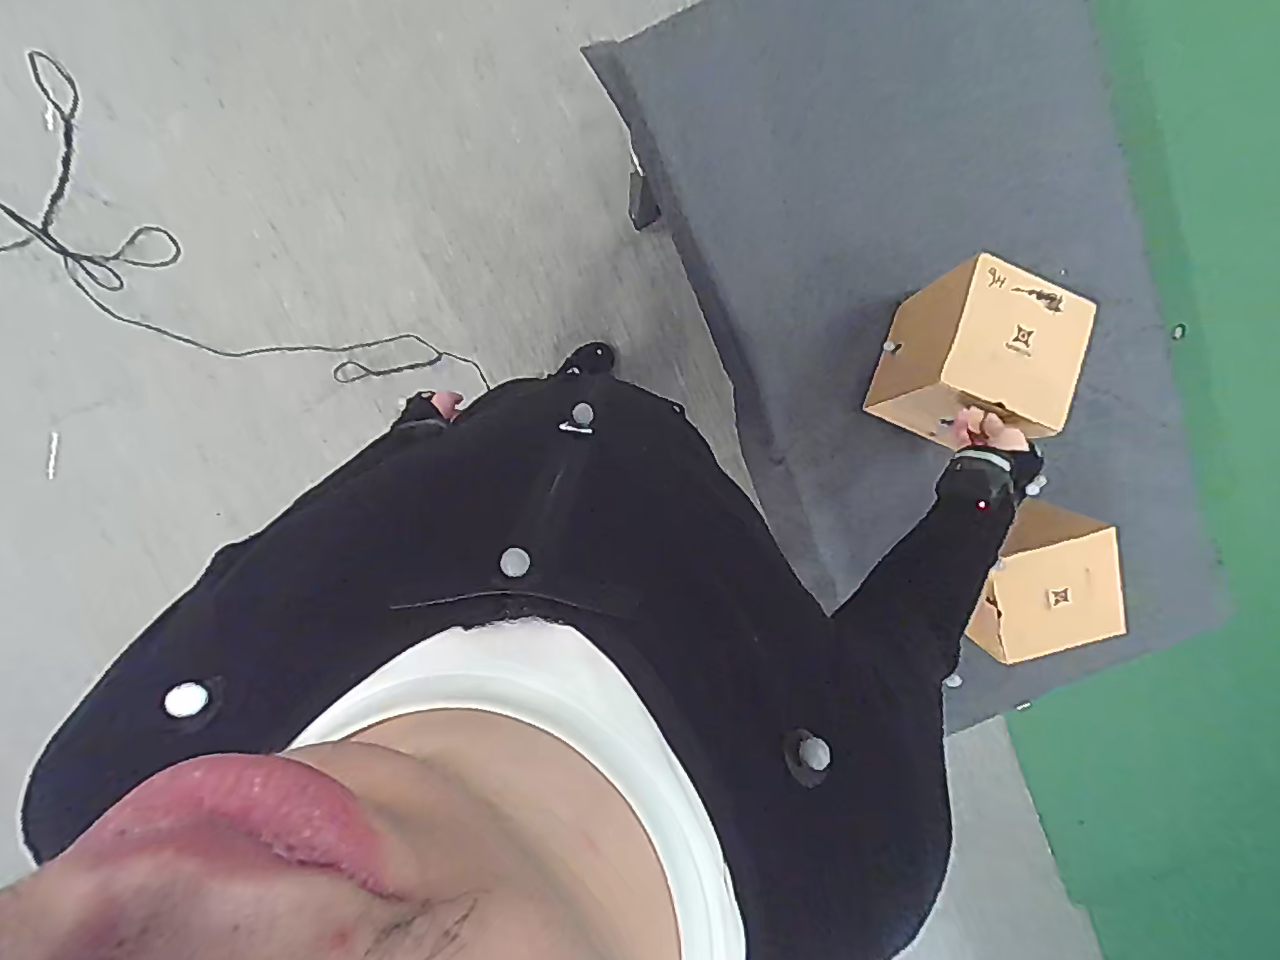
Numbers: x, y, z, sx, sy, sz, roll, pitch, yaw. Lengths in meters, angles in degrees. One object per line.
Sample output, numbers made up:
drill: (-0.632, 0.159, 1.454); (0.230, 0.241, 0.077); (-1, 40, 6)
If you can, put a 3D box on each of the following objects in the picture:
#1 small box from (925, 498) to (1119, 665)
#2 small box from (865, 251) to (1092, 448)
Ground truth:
small box: (0.554, 0.142, 0.809); (0.179, 0.176, 0.168); (-16, 104, 0)
small box: (0.430, -0.156, 0.716); (0.168, 0.176, 0.179); (24, 83, -6)
